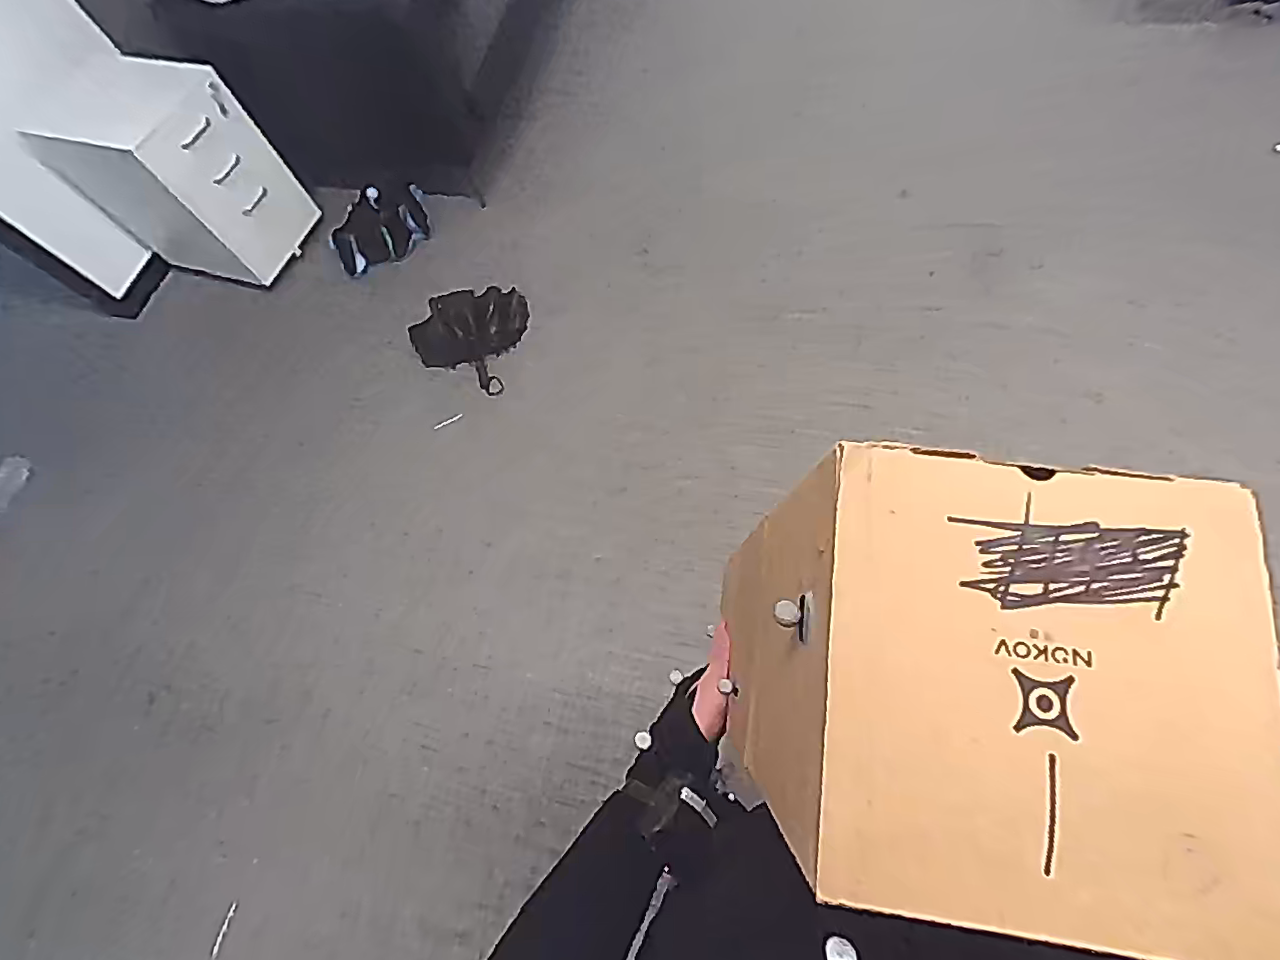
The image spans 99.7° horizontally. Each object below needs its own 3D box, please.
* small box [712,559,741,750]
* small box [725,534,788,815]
[{"bbox_3d":[0.169,0.186,0.581,0.168,0.176,0.179,6,78,5],"label":"small box"},{"bbox_3d":[0.161,0.147,0.423,0.168,0.176,0.179,6,76,4],"label":"small box"}]
